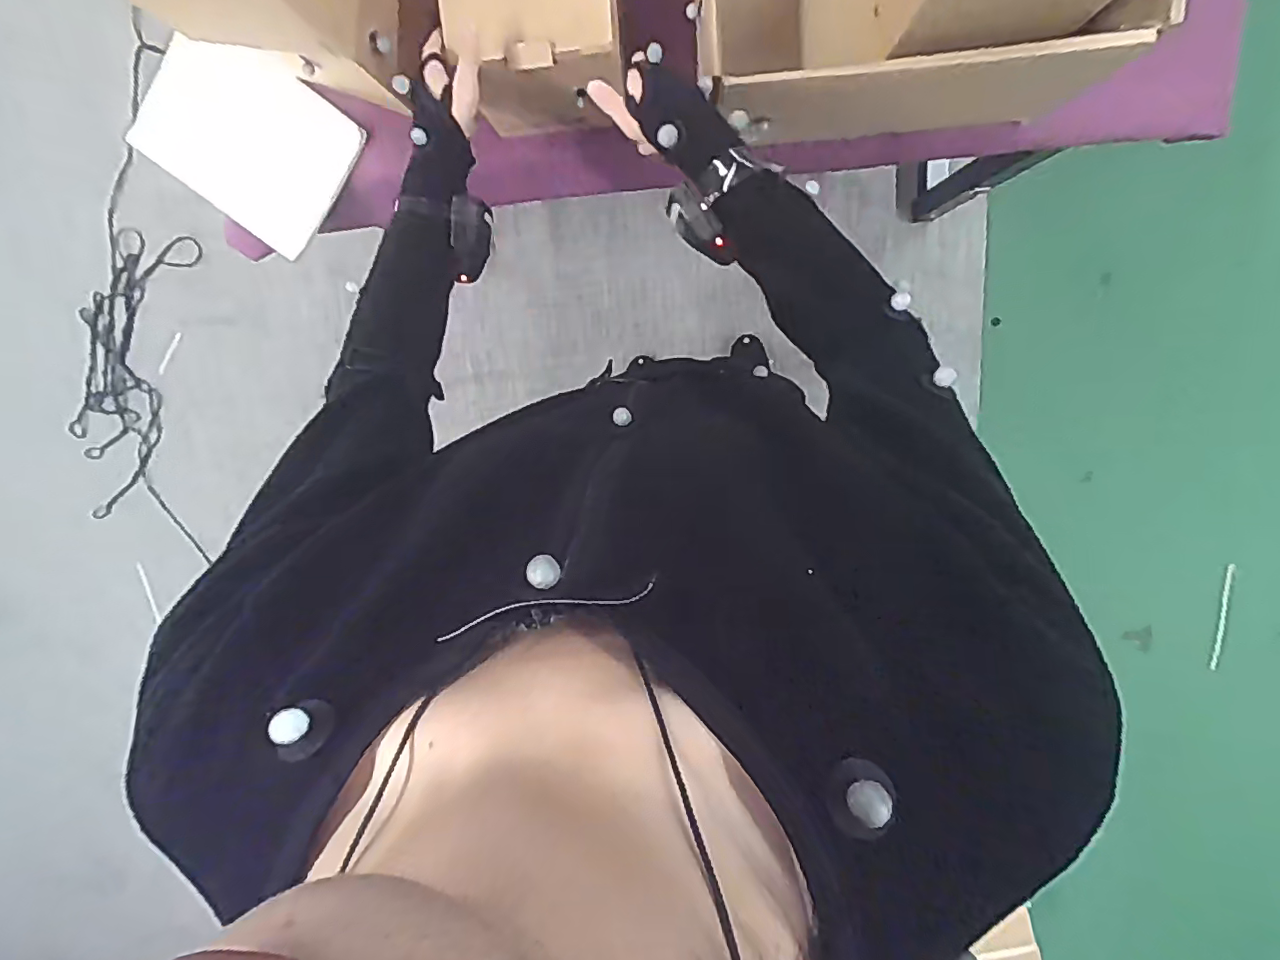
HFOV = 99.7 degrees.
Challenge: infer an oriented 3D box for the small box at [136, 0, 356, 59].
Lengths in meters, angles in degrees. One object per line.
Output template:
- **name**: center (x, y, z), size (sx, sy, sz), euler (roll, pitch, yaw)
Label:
- **small box**: center (-0.352, -0.482, 0.439), size (0.179, 0.176, 0.168), euler (10, 103, 3)
